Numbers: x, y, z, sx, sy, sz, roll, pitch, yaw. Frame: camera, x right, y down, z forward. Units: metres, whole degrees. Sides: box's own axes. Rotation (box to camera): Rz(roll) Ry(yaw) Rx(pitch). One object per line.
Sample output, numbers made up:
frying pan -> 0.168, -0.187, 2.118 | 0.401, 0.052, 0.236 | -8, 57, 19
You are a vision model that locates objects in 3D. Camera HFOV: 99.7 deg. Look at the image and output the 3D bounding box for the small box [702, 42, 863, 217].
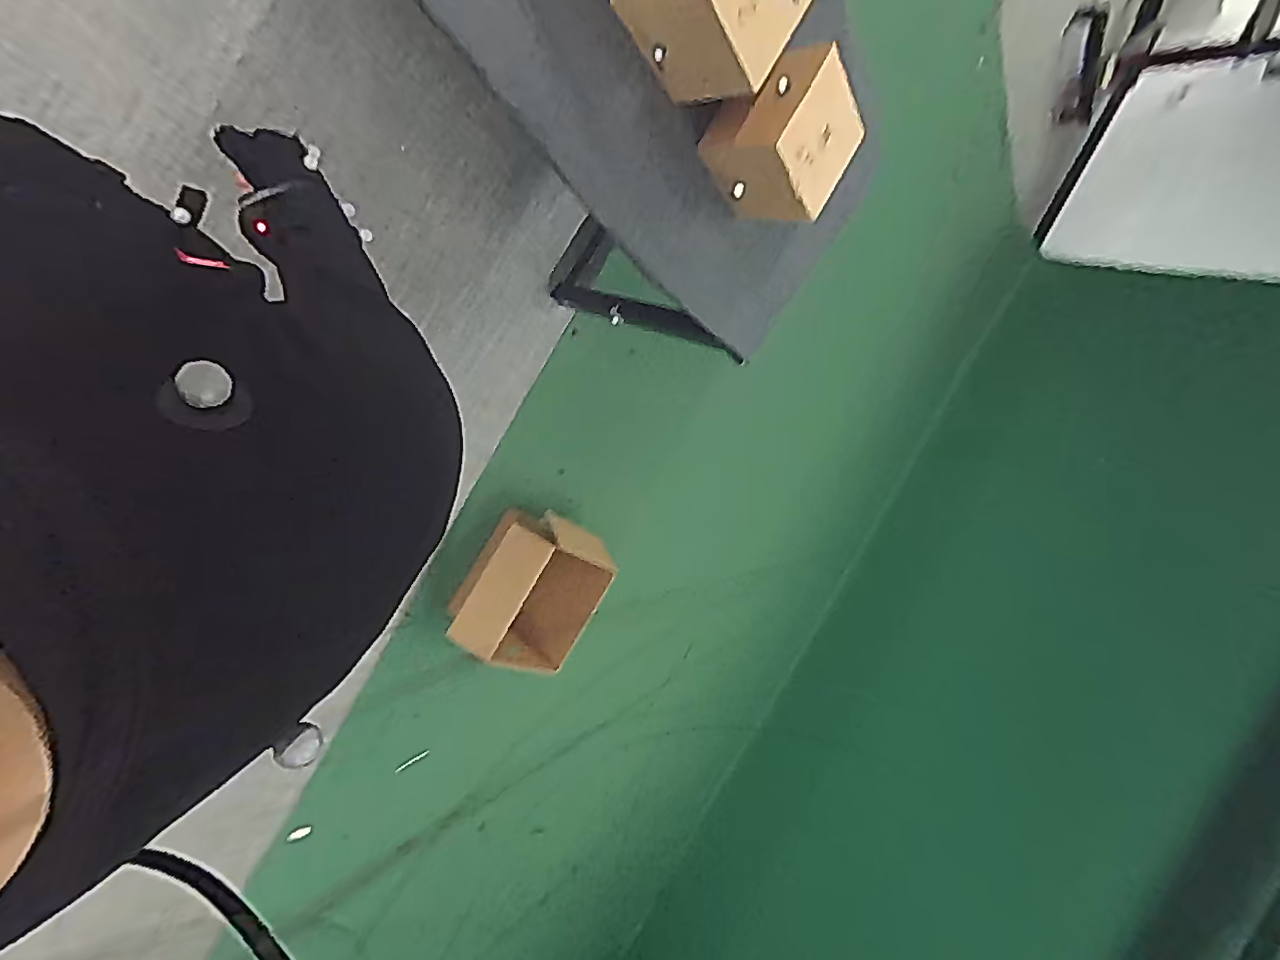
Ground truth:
small box -> 0.235, -0.572, 0.902 | 0.168, 0.176, 0.179 | 31, 89, -47
